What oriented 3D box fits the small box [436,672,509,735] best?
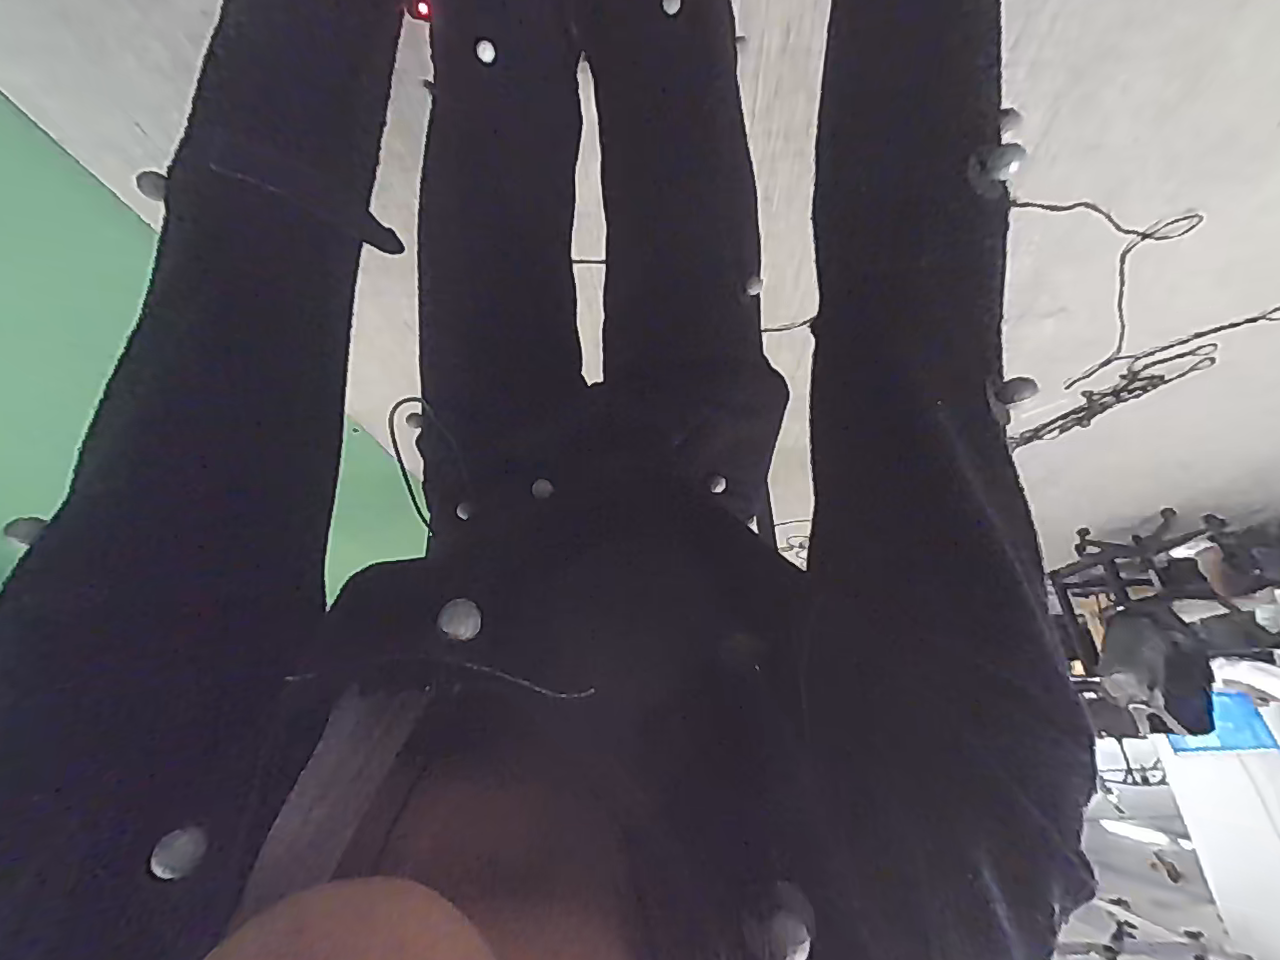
[{"bbox_3d":[-0.512,0.693,1.676,0.179,0.176,0.168,-4,155,3],"label":"small box"}]
